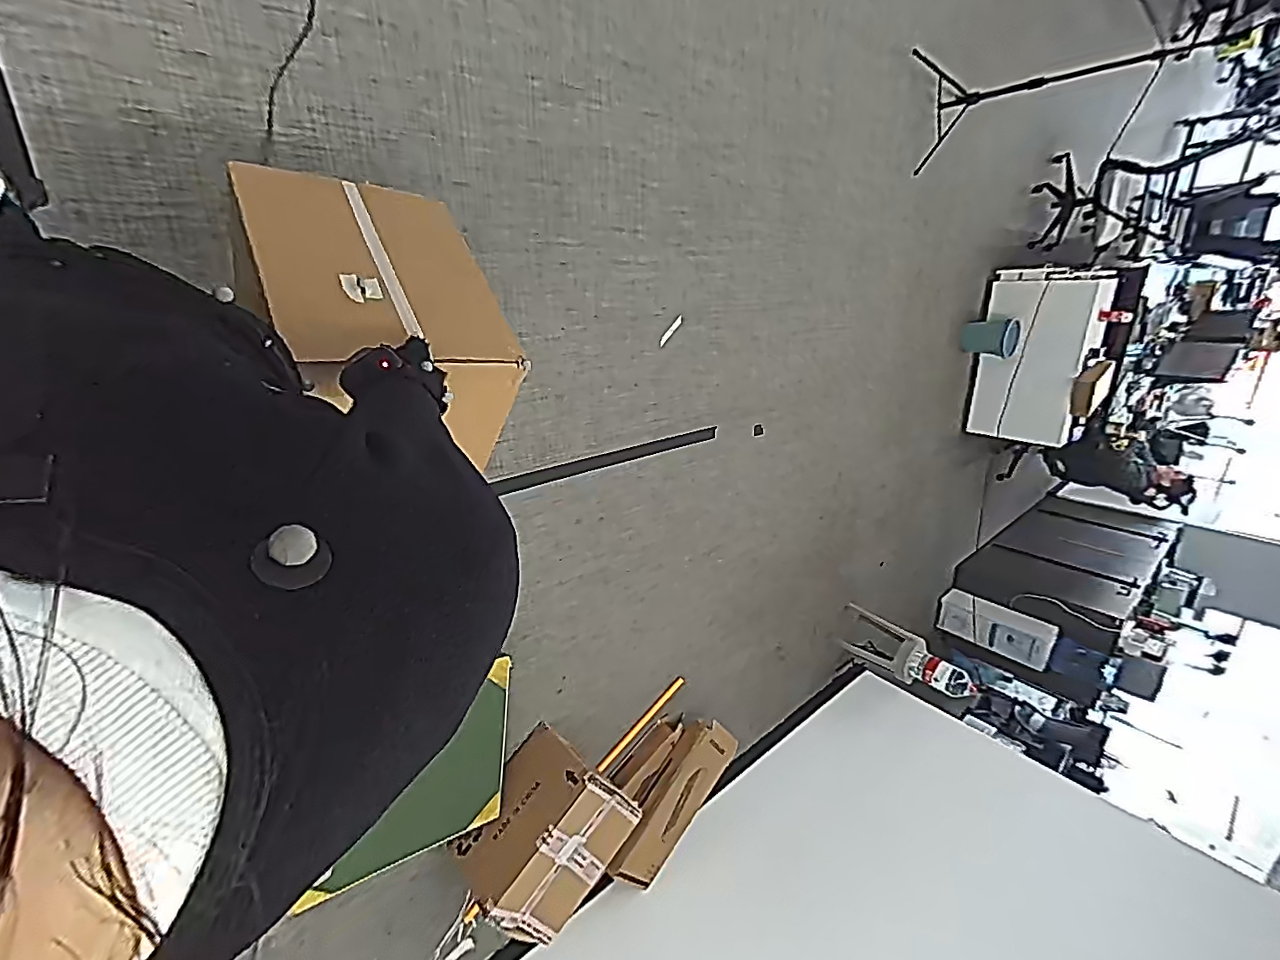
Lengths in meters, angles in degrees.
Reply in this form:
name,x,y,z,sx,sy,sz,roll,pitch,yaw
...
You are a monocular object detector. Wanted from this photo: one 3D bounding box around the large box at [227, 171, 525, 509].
name,x,y,z,sx,sy,sz,roll,pitch,yaw
large box,-0.450,-0.216,0.893,0.320,0.408,0.320,-11,151,-39
